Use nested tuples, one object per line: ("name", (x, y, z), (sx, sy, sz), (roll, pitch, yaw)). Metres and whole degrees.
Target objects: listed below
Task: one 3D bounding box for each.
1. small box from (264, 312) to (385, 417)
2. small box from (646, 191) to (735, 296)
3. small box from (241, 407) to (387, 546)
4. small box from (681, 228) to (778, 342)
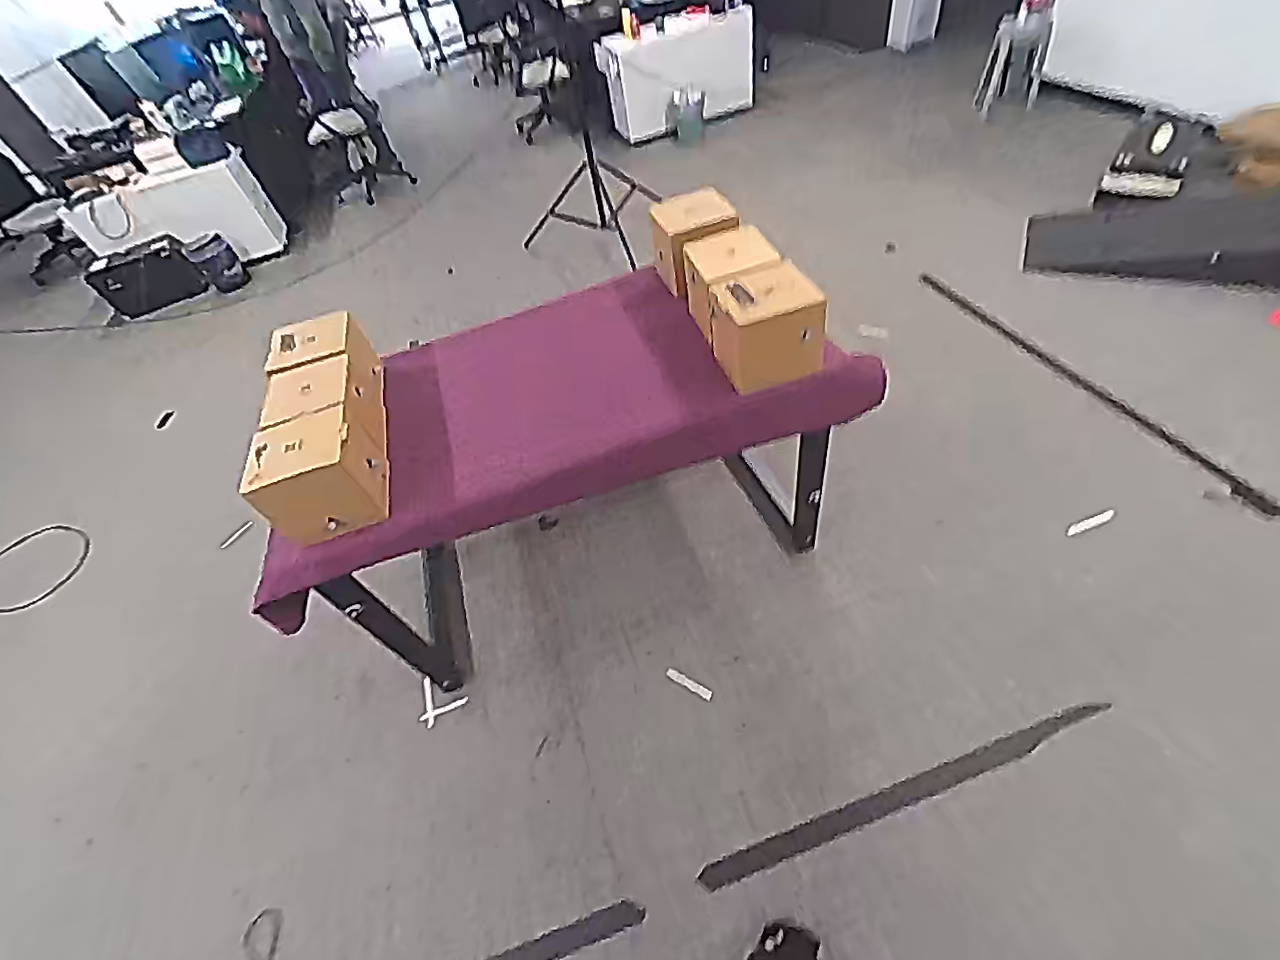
("small box", (-0.723, -0.257, 1.259), (0.179, 0.176, 0.168), (-18, 51, -5))
("small box", (0.131, -0.589, 1.358), (0.179, 0.176, 0.168), (-19, 50, -5))
("small box", (-0.599, -0.005, 1.023), (0.179, 0.176, 0.168), (-19, 48, -6))
("small box", (0.204, -0.431, 1.219), (0.168, 0.176, 0.179), (-17, 48, -2))
